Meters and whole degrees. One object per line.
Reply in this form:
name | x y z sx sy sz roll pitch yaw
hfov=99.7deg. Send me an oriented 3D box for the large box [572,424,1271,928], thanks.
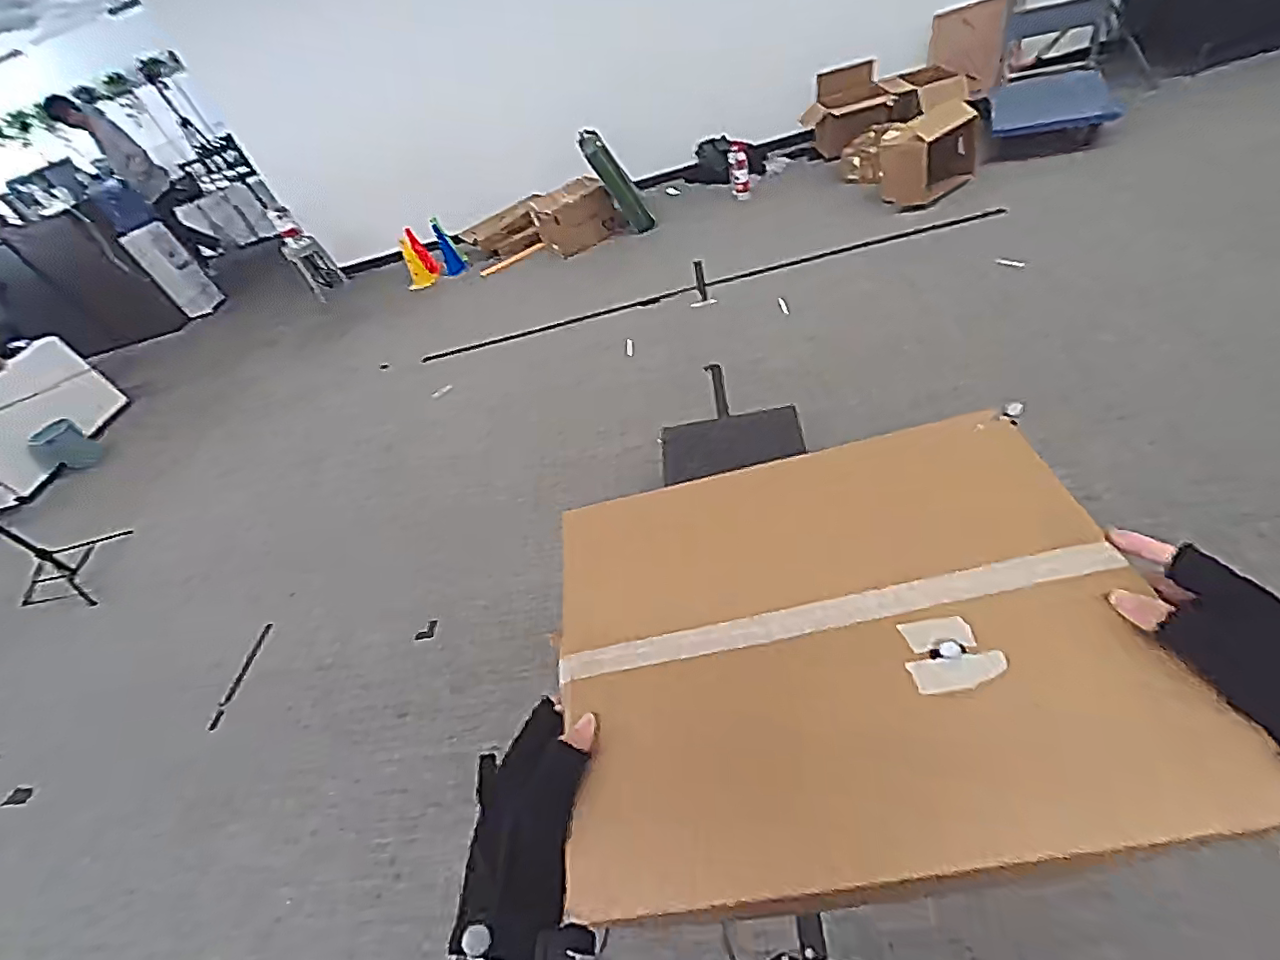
large box | 0.175 0.202 0.522 0.408 0.320 0.320 -14 49 7
